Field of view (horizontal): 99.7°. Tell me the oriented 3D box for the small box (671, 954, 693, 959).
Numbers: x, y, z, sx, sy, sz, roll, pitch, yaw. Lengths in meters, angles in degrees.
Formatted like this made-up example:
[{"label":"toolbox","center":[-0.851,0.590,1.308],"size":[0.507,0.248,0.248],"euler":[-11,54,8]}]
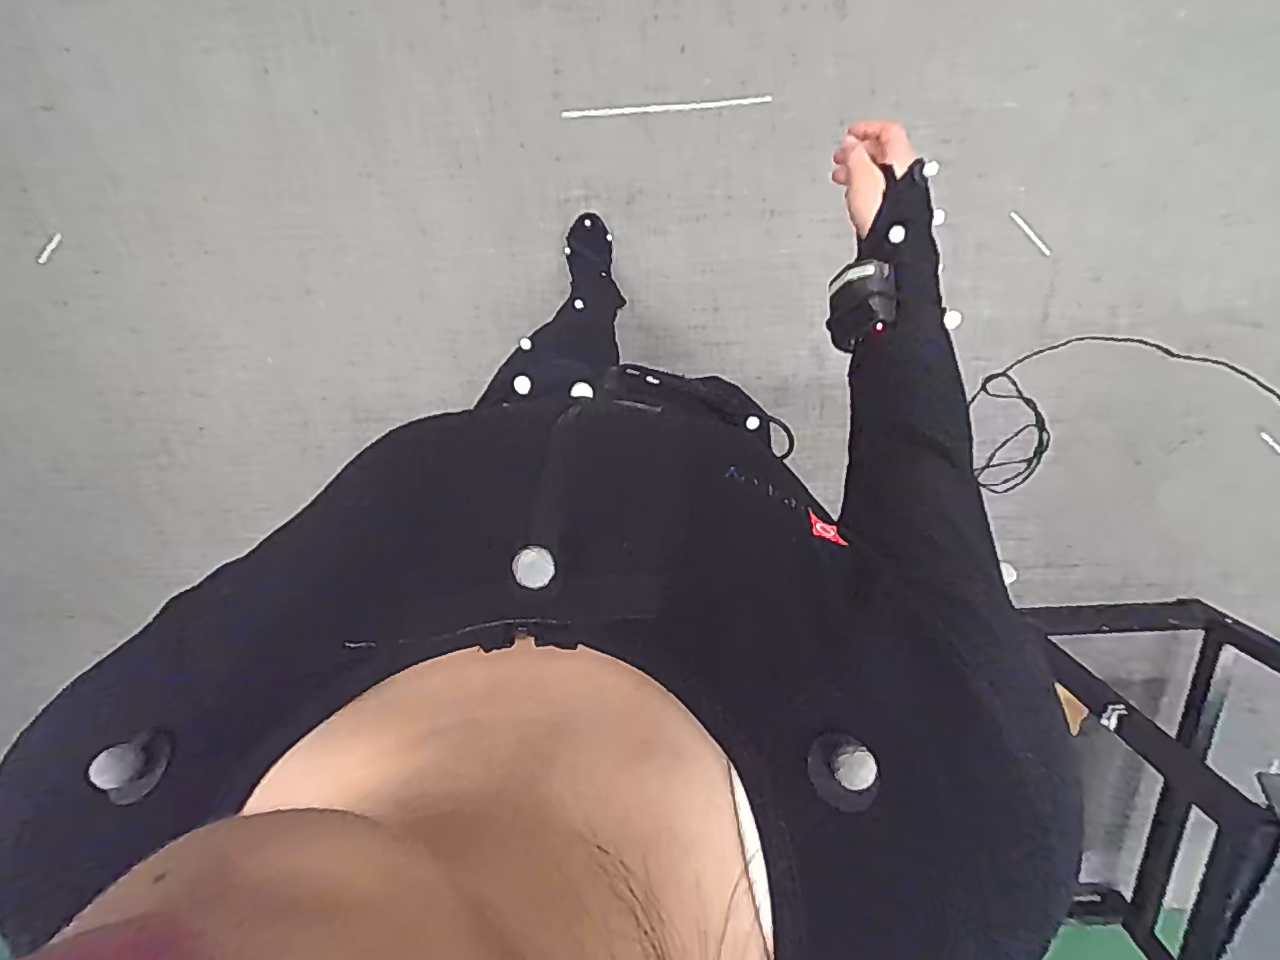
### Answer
[{"label":"small box","center":[0.159,1.845,1.921],"size":[0.179,0.176,0.168],"euler":[31,105,-8]}]
